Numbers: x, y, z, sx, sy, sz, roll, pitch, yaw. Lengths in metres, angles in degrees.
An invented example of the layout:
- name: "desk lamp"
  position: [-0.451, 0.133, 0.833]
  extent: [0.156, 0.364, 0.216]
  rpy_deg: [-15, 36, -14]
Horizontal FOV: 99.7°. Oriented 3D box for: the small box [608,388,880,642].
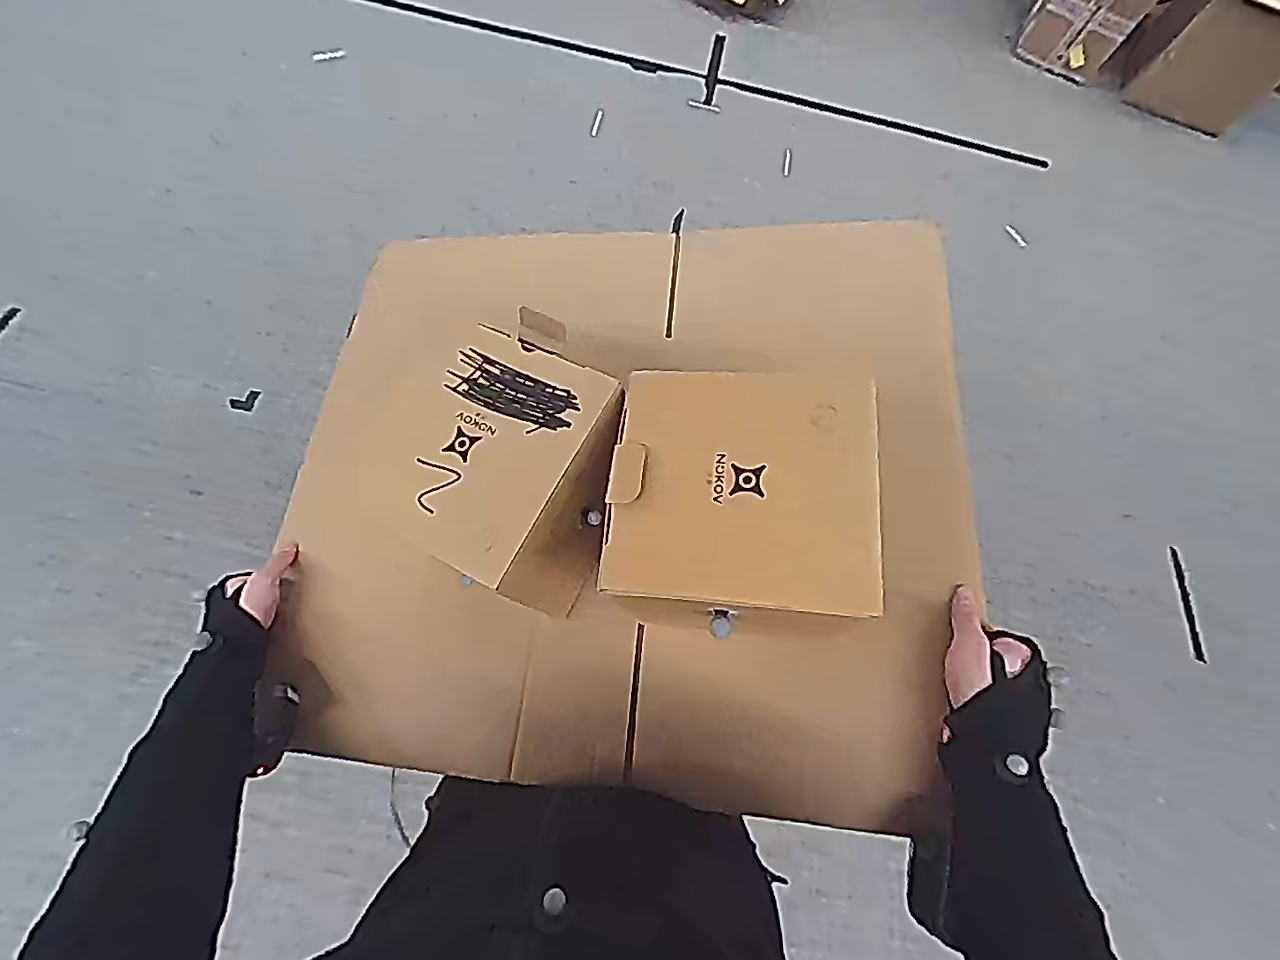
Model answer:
- name: "small box"
  position: [0.086, 0.038, 0.448]
  extent: [0.179, 0.176, 0.168]
  rpy_deg: [2, 70, 12]
